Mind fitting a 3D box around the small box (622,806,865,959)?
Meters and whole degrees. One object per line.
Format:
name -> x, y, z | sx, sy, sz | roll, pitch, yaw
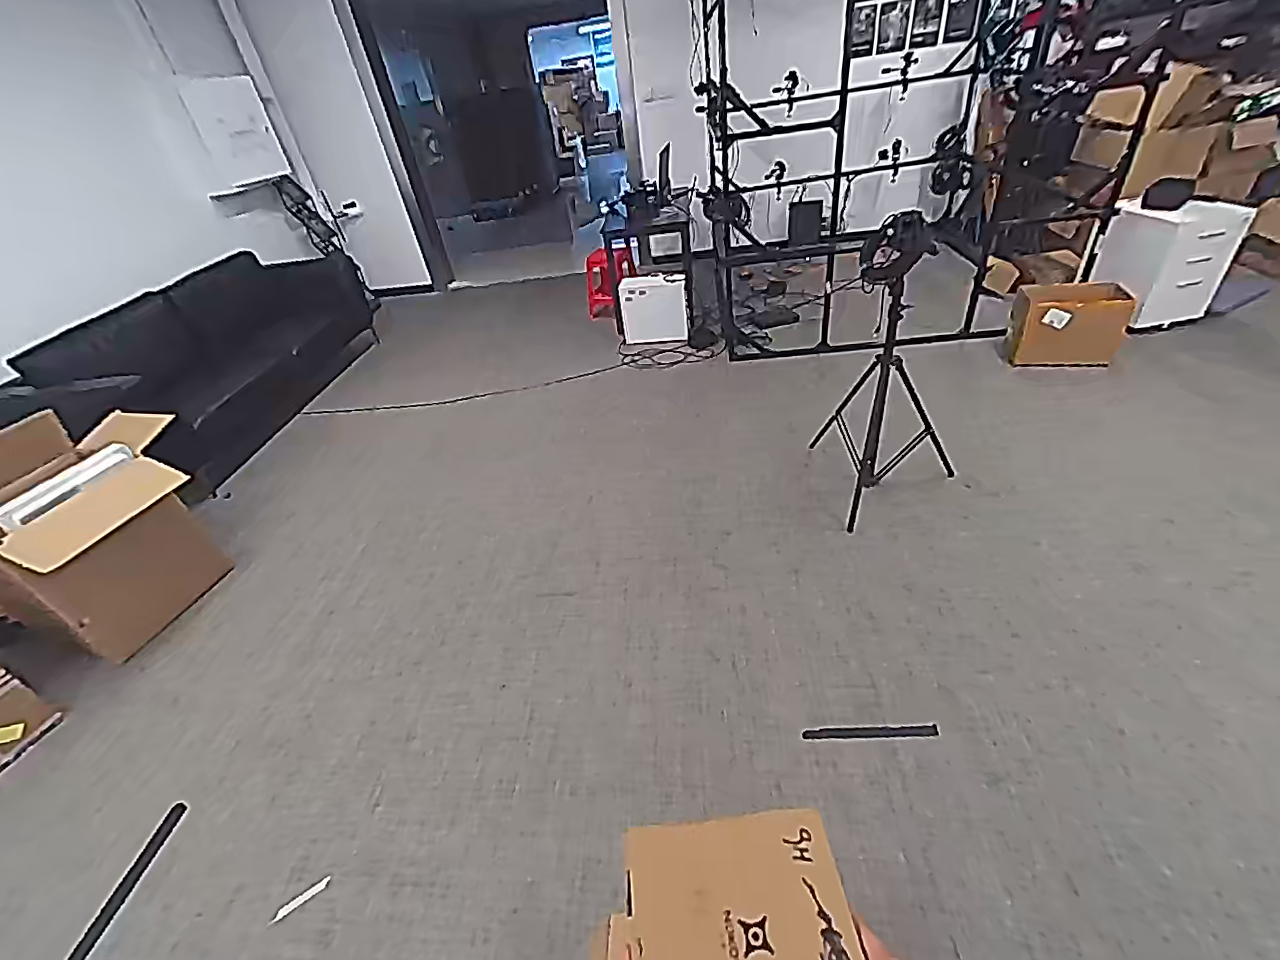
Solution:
small box -> 0.081, 0.407, 0.461 | 0.179, 0.176, 0.168 | -4, 40, -3
